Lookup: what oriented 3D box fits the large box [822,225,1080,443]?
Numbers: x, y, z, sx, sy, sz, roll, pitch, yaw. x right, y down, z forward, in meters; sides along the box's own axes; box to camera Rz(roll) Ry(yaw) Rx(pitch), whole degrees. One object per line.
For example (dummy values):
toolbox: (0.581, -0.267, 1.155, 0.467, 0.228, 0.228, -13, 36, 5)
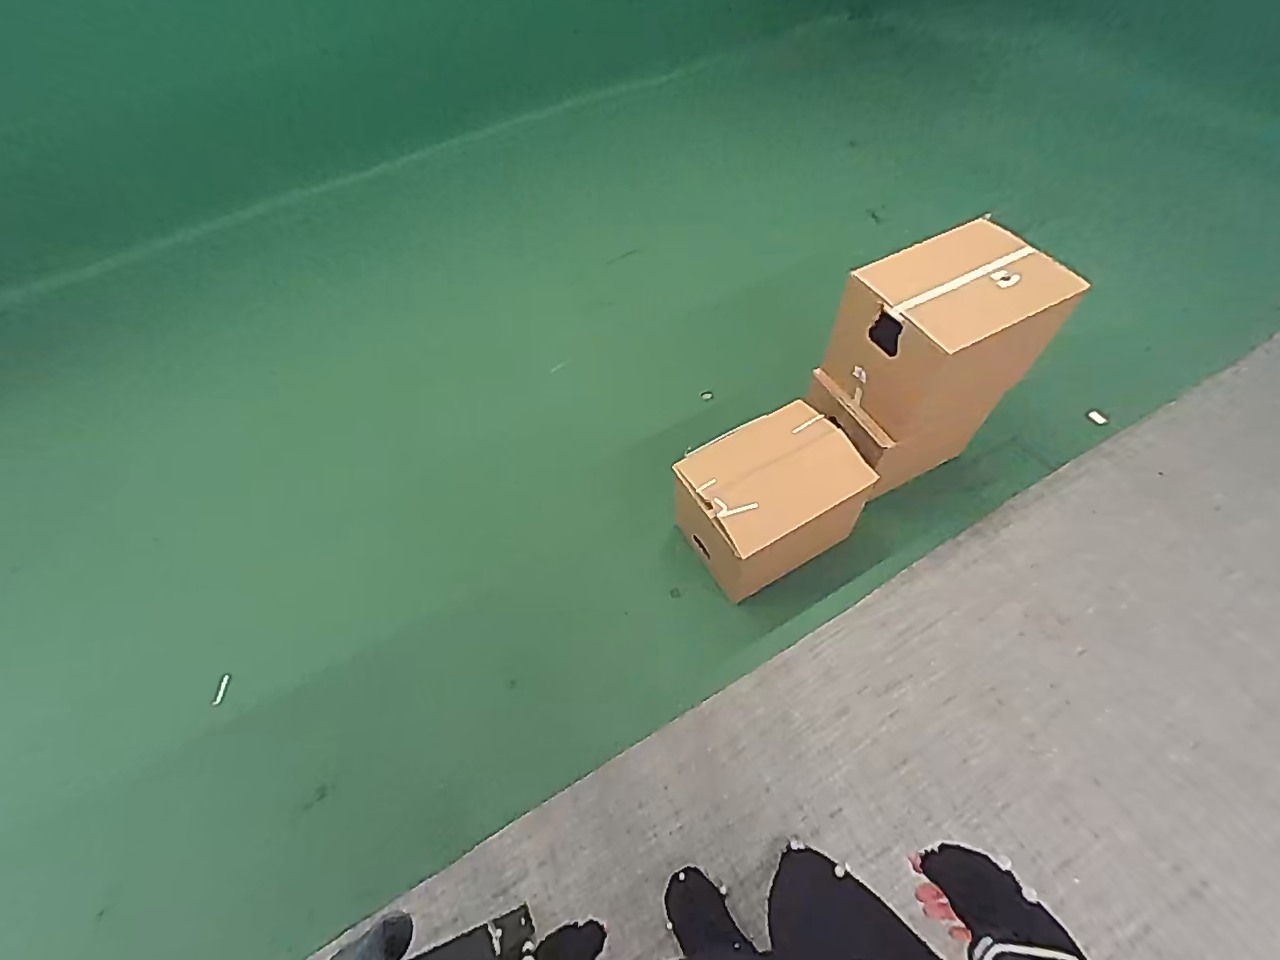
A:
large box: (0.735, -0.358, 1.344, 0.408, 0.320, 0.320, -25, 59, -12)
